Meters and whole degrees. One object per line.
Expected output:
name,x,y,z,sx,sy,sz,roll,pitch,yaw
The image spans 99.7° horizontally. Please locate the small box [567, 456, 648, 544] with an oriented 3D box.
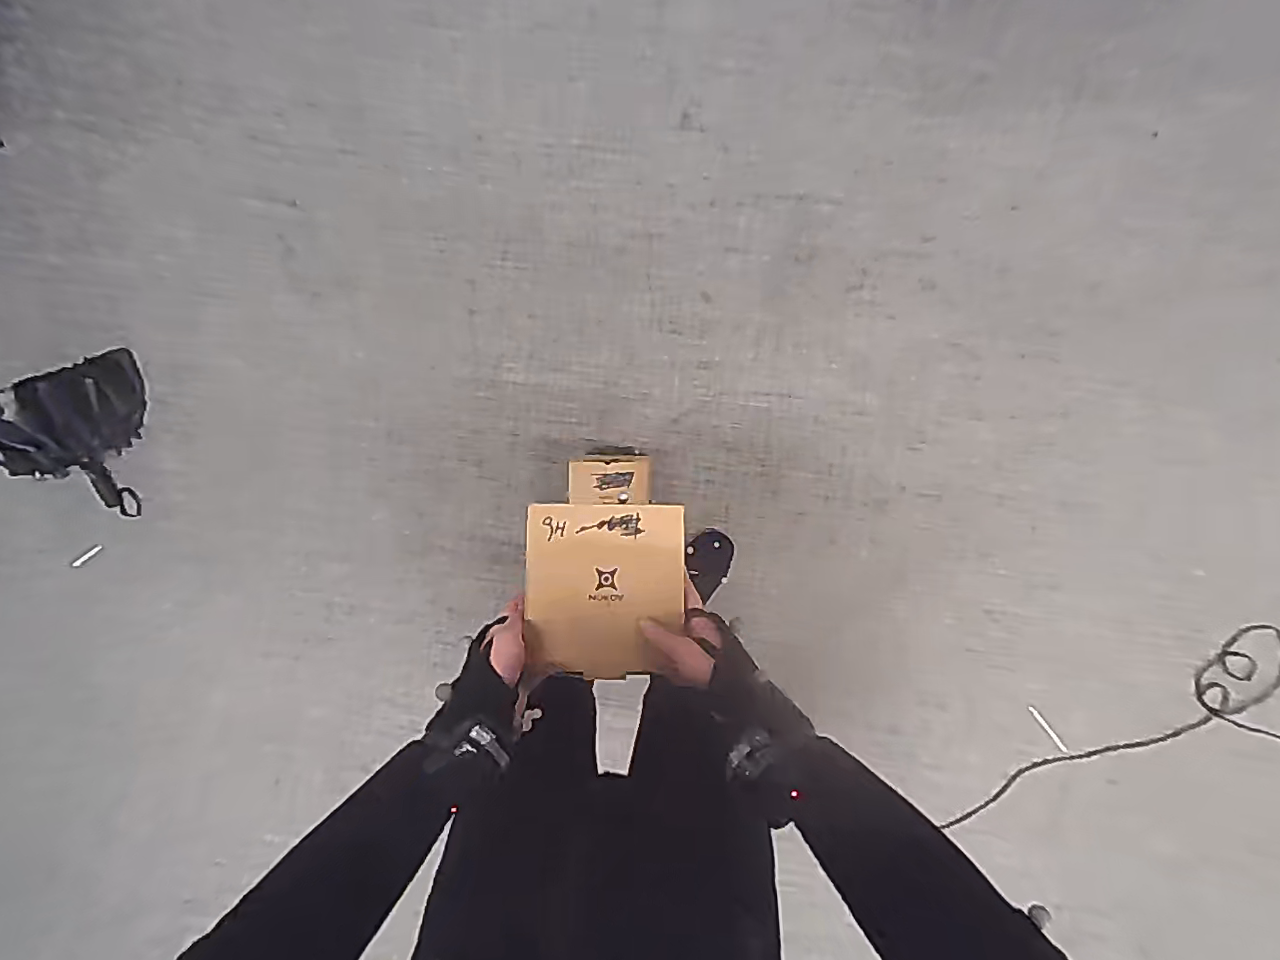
small box,-0.068,0.038,1.206,0.168,0.176,0.179,1,97,3
